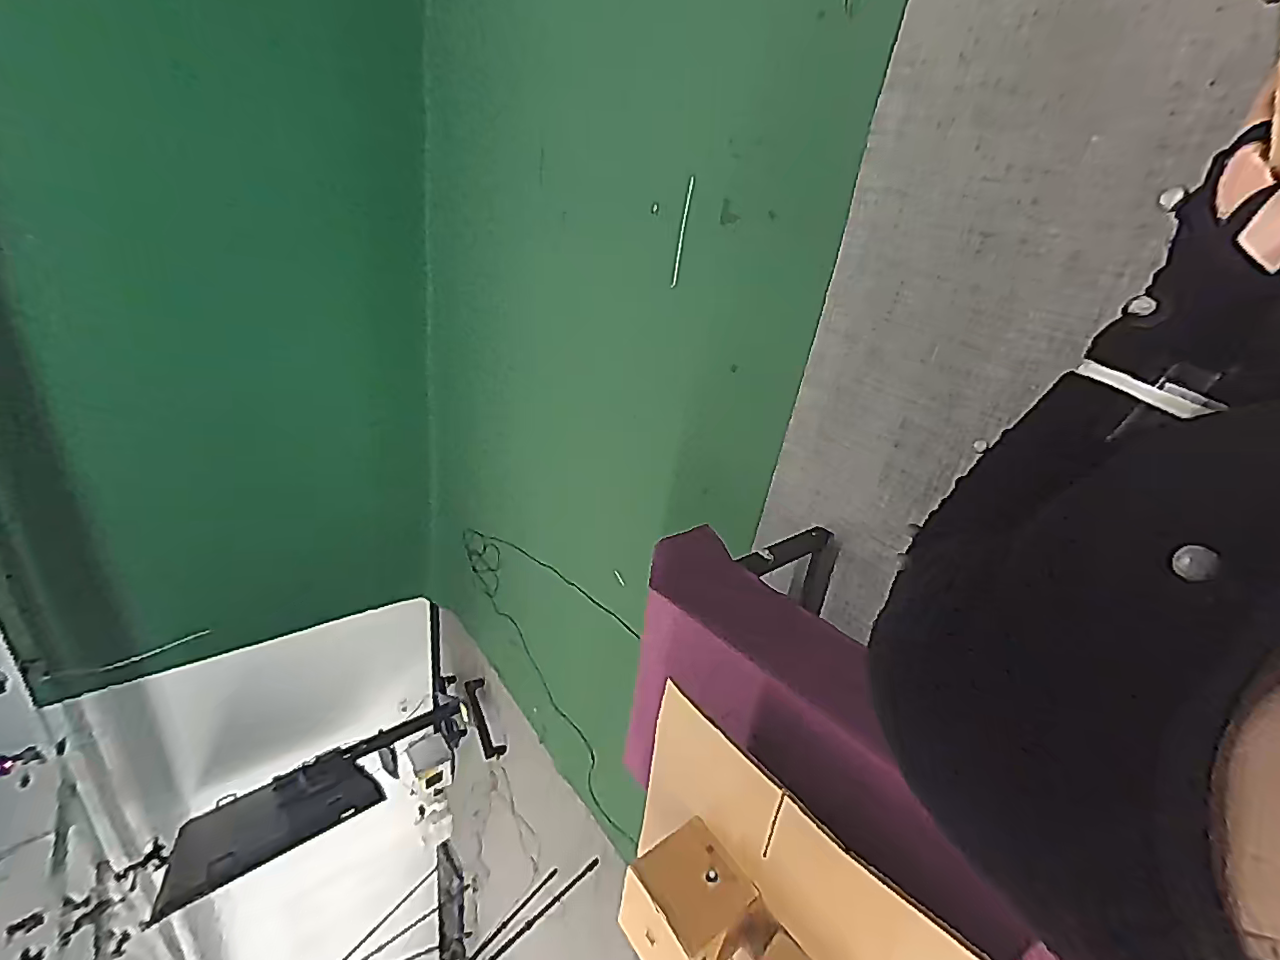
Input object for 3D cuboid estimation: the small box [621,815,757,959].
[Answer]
[{"bbox_3d":[0.088,0.765,0.982,0.168,0.176,0.179,34,124,44],"label":"small box"}]
